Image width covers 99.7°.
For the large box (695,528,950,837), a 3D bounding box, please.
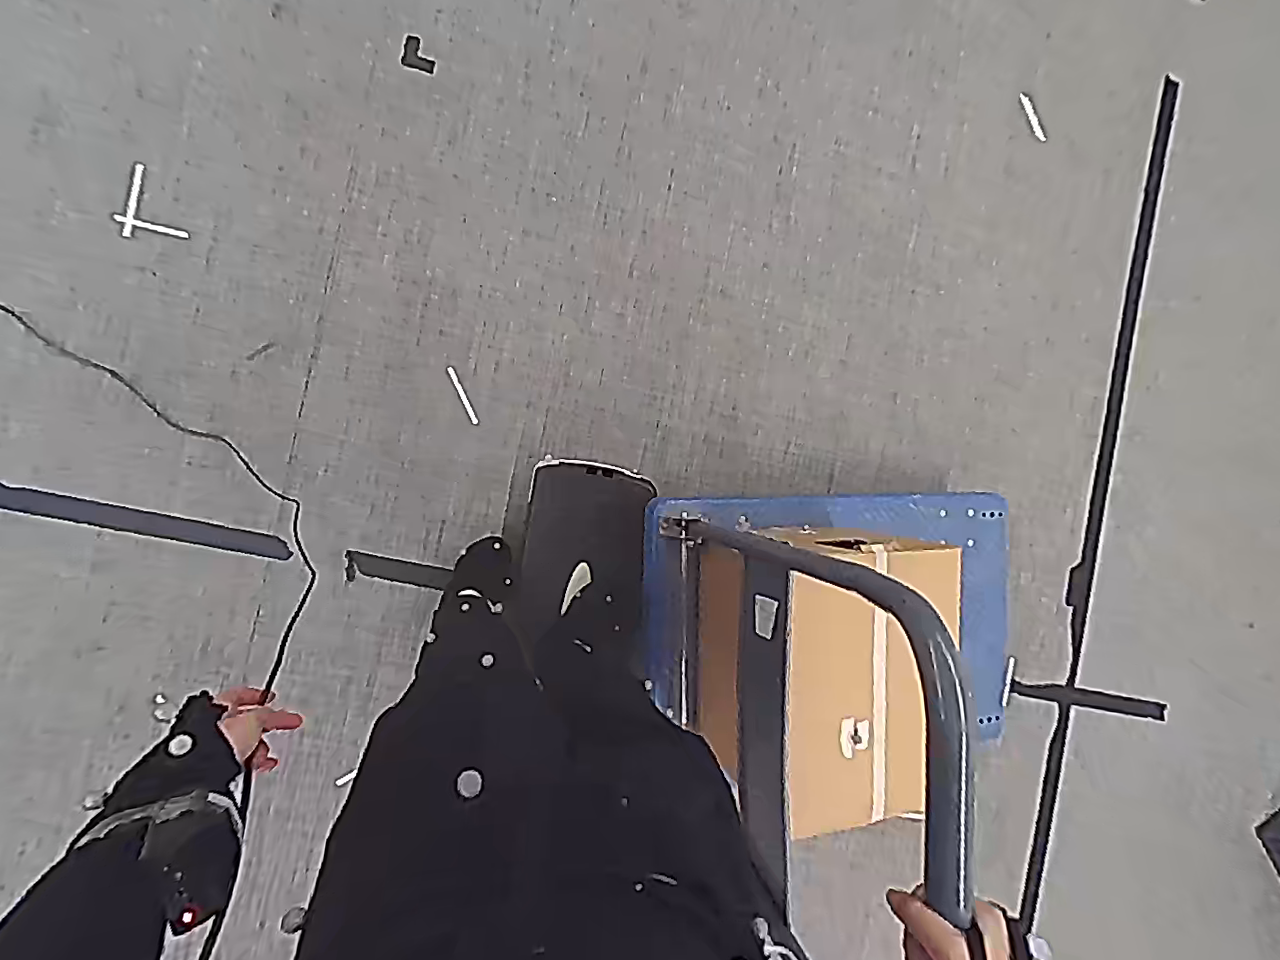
[{"bbox_3d":[0.297,0.304,0.948,0.320,0.320,0.408,0,91,-17],"label":"large box"}]
